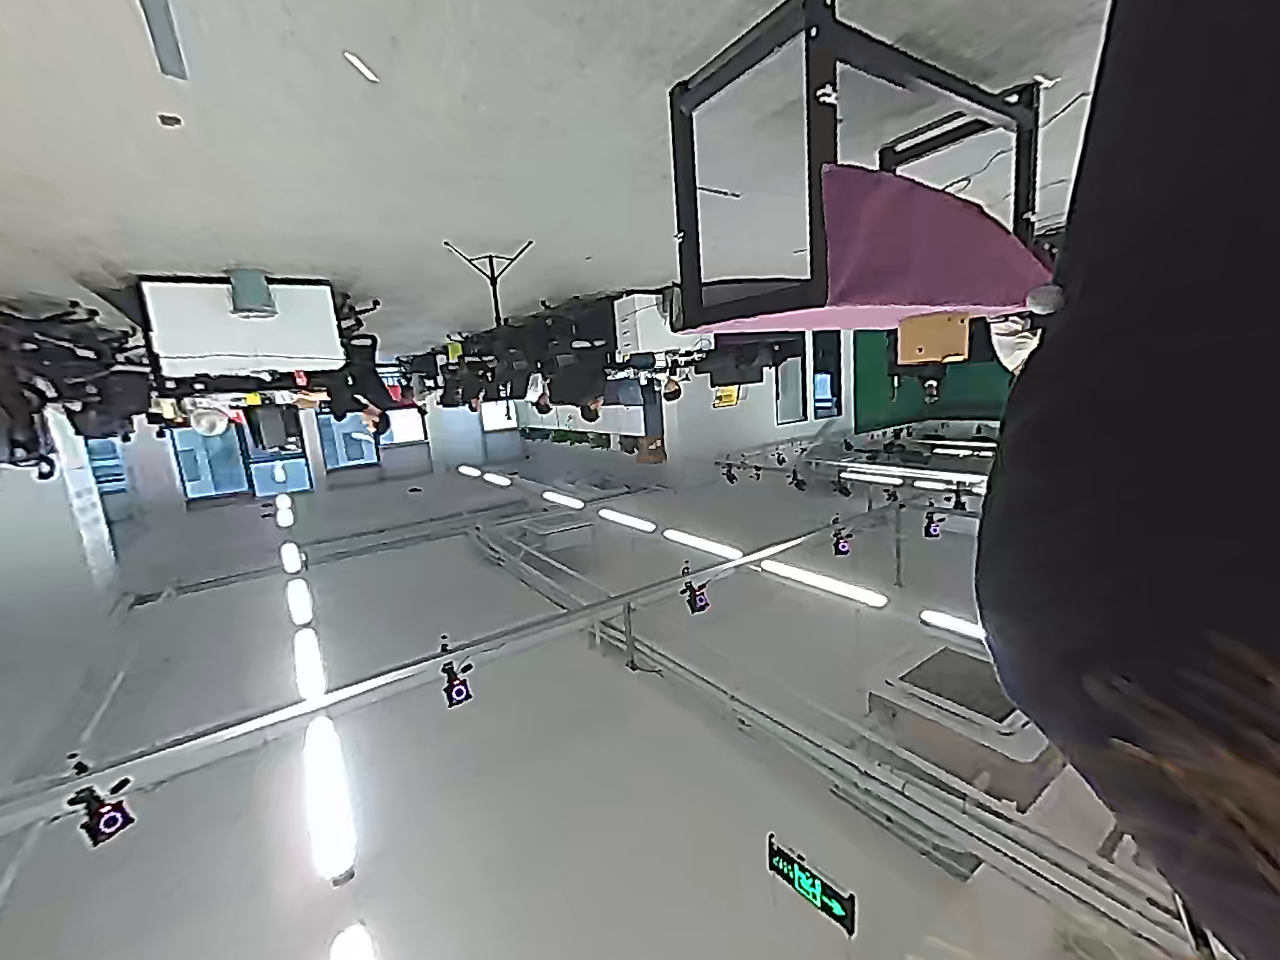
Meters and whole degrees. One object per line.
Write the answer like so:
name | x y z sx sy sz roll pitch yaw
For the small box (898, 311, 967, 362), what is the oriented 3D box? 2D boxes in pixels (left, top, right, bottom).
small box | 1.098 -0.542 2.035 0.168 0.176 0.179 -8 -168 -22
